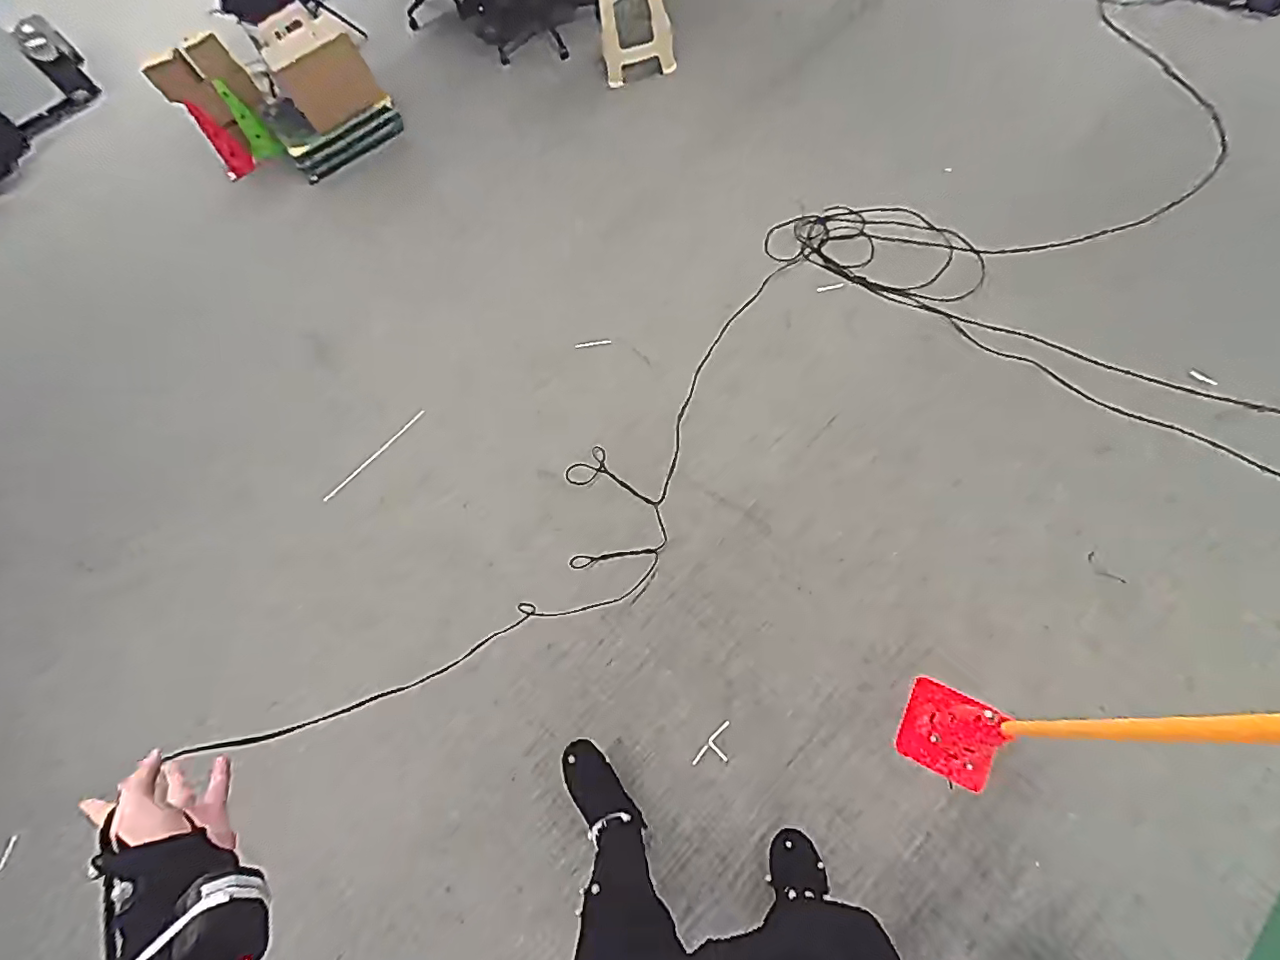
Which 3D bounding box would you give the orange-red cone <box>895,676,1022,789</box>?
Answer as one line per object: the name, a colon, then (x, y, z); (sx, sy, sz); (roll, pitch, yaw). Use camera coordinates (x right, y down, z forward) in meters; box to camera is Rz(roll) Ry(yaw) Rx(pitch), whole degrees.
orange-red cone: (0.707, 0.525, 1.145); (0.198, 0.360, 0.199); (24, 71, 20)
